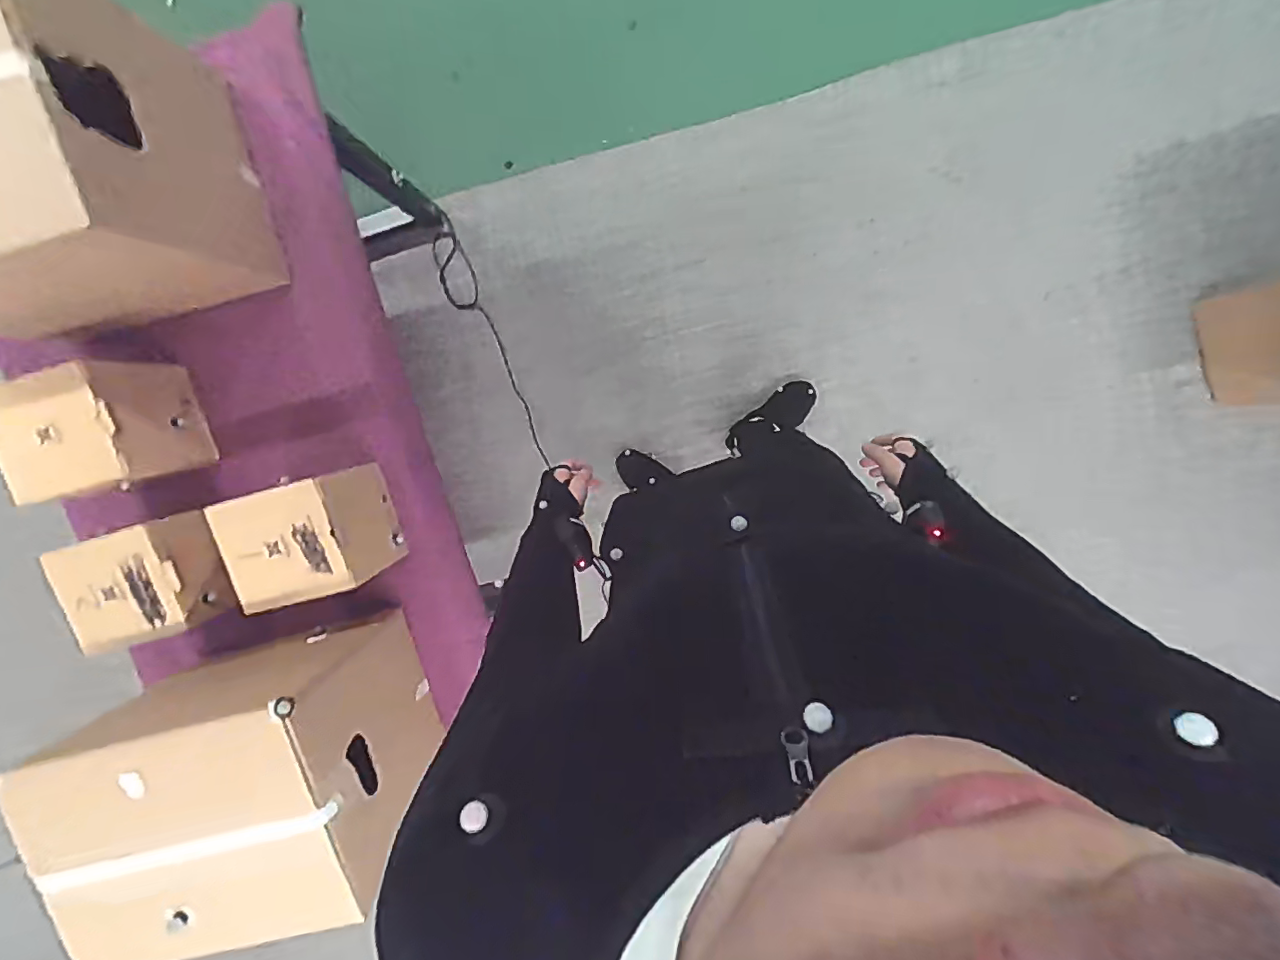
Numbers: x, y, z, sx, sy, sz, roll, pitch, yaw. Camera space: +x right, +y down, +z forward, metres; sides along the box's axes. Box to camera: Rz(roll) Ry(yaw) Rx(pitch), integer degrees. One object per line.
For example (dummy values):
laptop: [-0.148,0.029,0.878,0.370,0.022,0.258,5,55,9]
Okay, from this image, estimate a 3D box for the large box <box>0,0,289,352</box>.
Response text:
large box: [-0.782,-0.377,0.698,0.408,0.320,0.320,-15,99,4]
